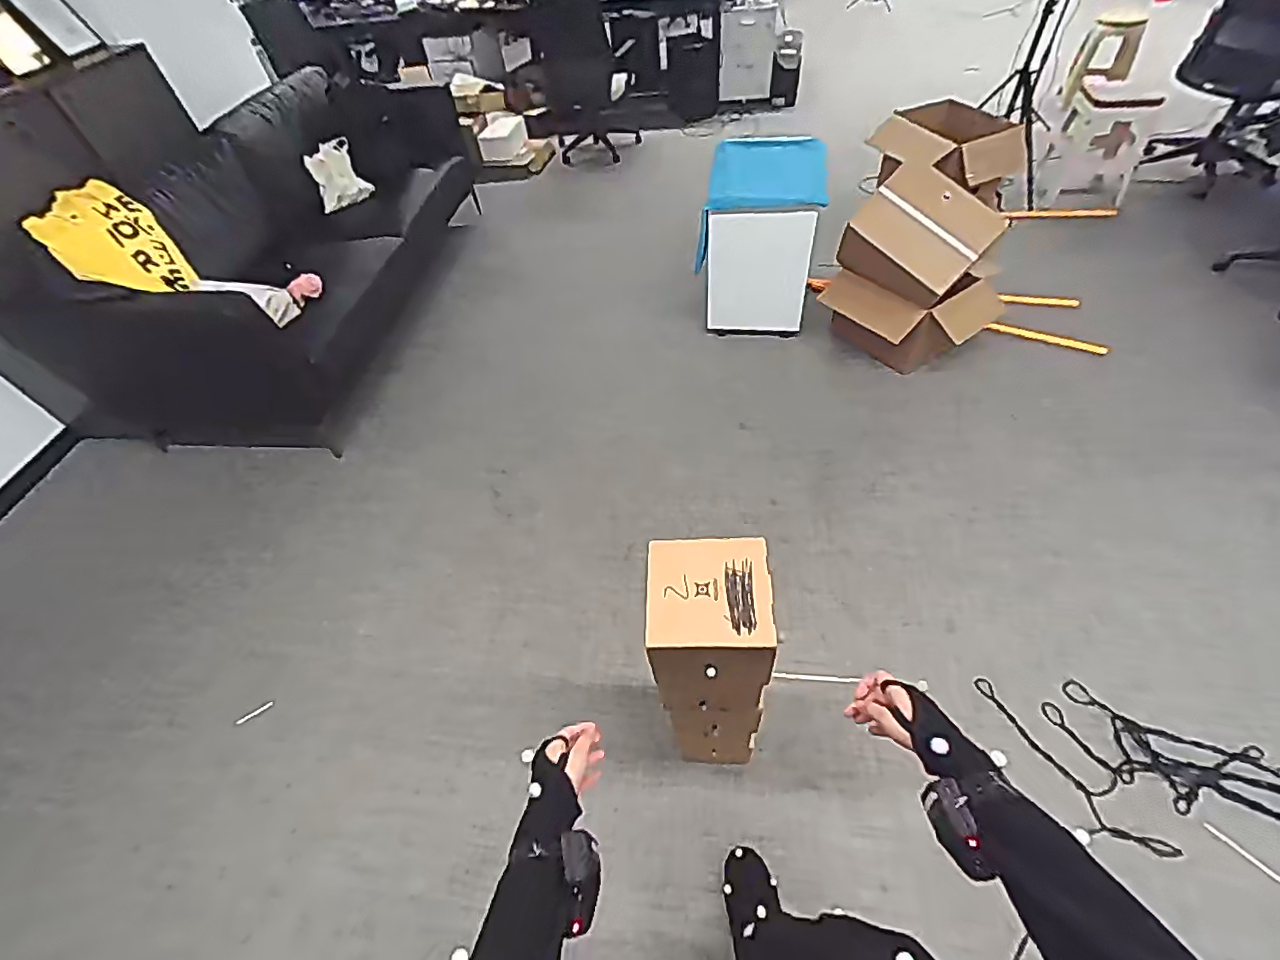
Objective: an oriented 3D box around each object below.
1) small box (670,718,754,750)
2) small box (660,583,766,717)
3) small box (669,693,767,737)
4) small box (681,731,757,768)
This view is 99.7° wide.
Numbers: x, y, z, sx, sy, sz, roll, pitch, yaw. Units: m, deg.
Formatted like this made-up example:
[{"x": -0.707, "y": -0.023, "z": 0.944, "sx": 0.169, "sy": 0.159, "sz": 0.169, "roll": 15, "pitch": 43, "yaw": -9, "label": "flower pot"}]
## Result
[{"x": 0.165, "y": 0.492, "z": 1.207, "sx": 0.179, "sy": 0.176, "sz": 0.168, "roll": 0, "pitch": 51, "yaw": 8, "label": "small box"}, {"x": 0.126, "y": 0.298, "z": 0.948, "sx": 0.168, "sy": 0.176, "sz": 0.179, "roll": -2, "pitch": 52, "yaw": 8, "label": "small box"}, {"x": 0.150, "y": 0.400, "z": 1.073, "sx": 0.179, "sy": 0.176, "sz": 0.168, "roll": -1, "pitch": 50, "yaw": 7, "label": "small box"}, {"x": 0.193, "y": 0.597, "z": 1.330, "sx": 0.179, "sy": 0.176, "sz": 0.168, "roll": 0, "pitch": 50, "yaw": 8, "label": "small box"}]
